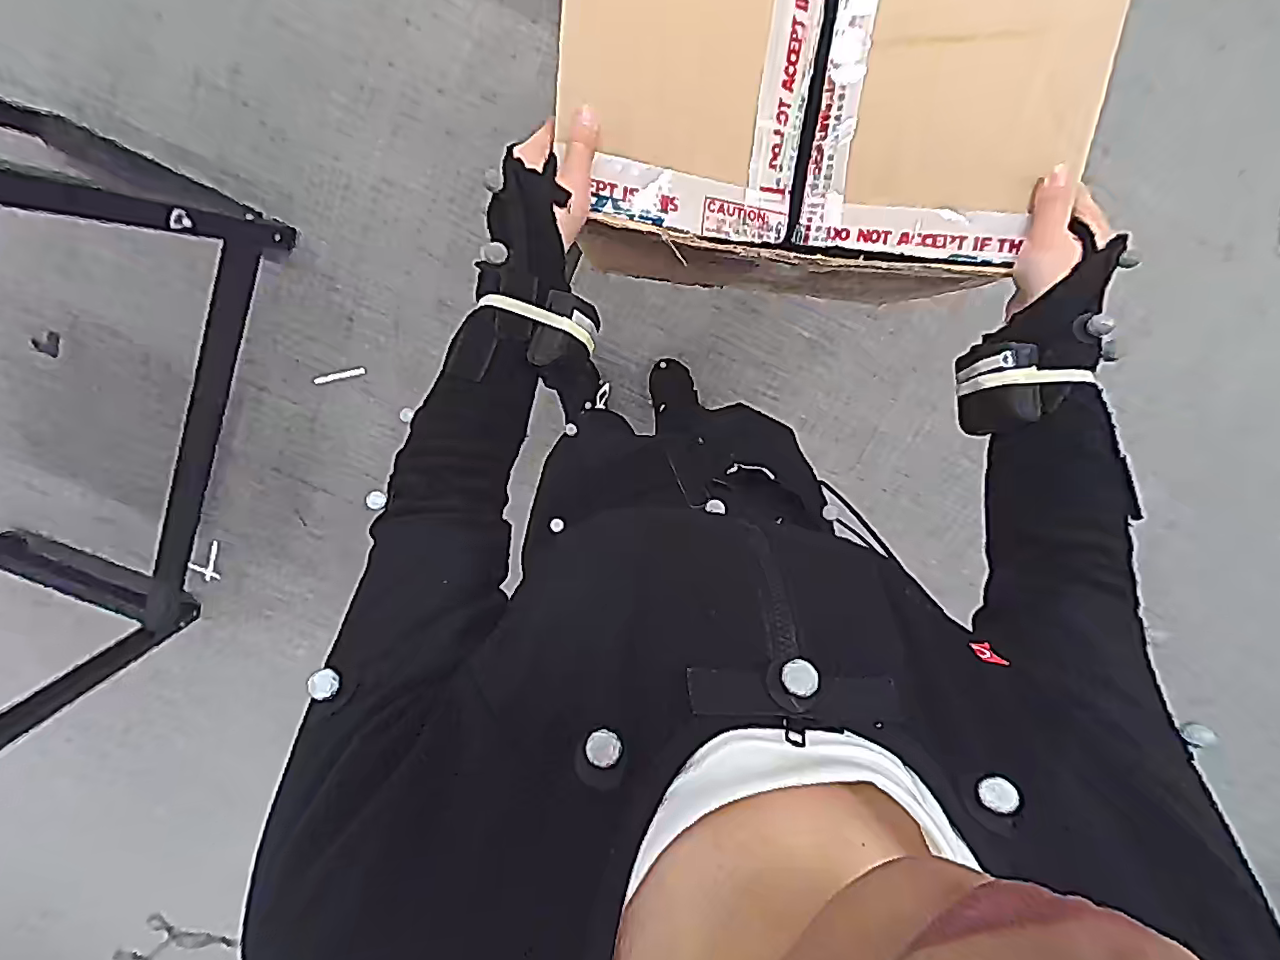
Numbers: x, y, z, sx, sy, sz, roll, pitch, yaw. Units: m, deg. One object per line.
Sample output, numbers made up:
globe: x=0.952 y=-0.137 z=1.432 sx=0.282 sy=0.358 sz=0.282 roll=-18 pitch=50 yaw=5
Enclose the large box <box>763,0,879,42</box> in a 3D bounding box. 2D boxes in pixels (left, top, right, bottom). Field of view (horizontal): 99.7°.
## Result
large box: x=0.362 y=-1.081 z=0.900 sx=0.320 sy=0.320 sz=0.408 roll=24 pitch=108 yaw=-4
